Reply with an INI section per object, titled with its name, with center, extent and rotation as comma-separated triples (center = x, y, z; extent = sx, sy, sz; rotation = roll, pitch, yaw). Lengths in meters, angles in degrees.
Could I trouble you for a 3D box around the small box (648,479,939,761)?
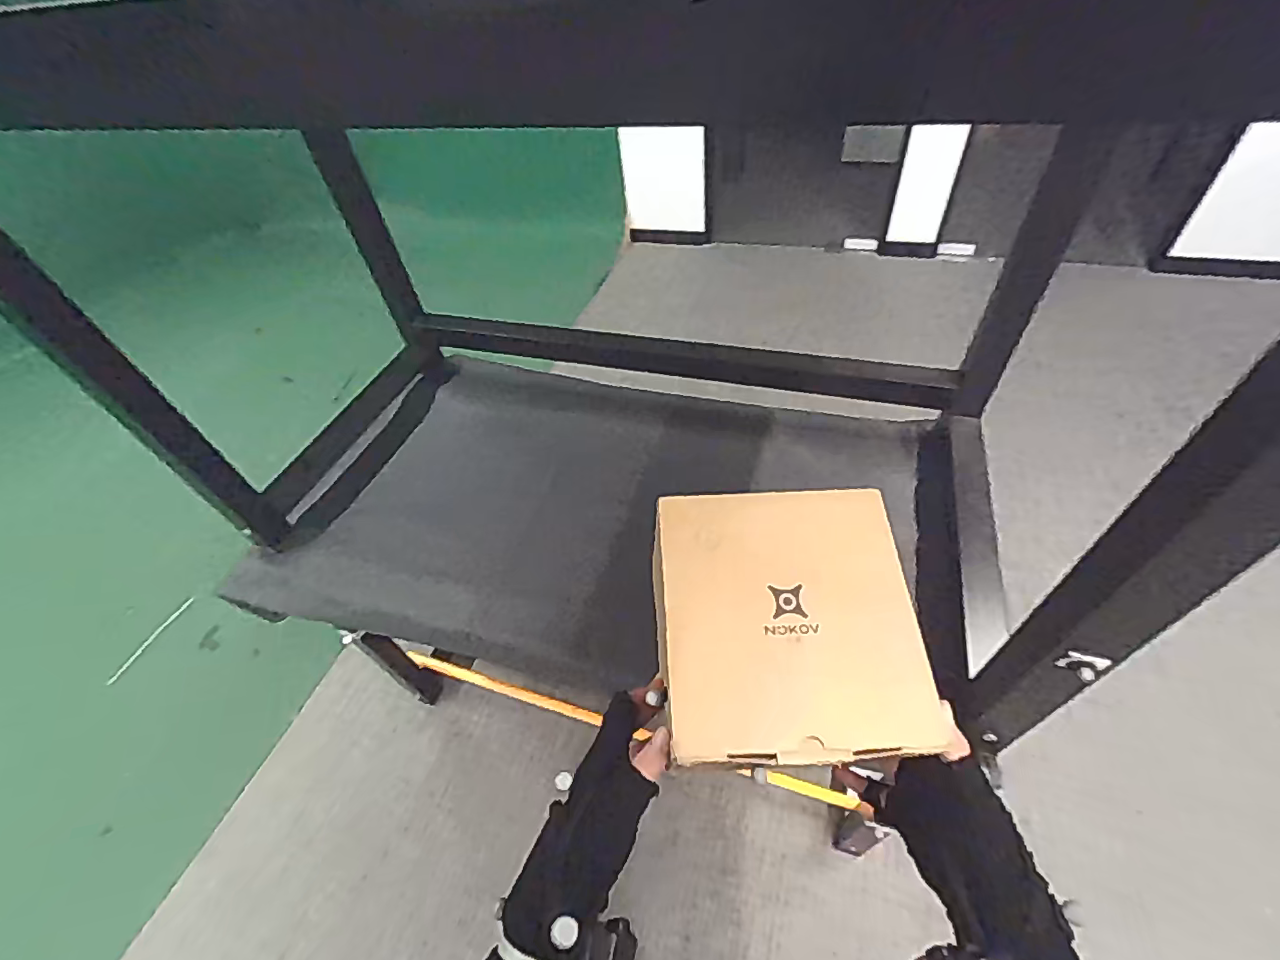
[small box]
center = 0.092, 0.116, 0.426
extent = 0.168, 0.176, 0.179
rotation = -3, 61, 0
